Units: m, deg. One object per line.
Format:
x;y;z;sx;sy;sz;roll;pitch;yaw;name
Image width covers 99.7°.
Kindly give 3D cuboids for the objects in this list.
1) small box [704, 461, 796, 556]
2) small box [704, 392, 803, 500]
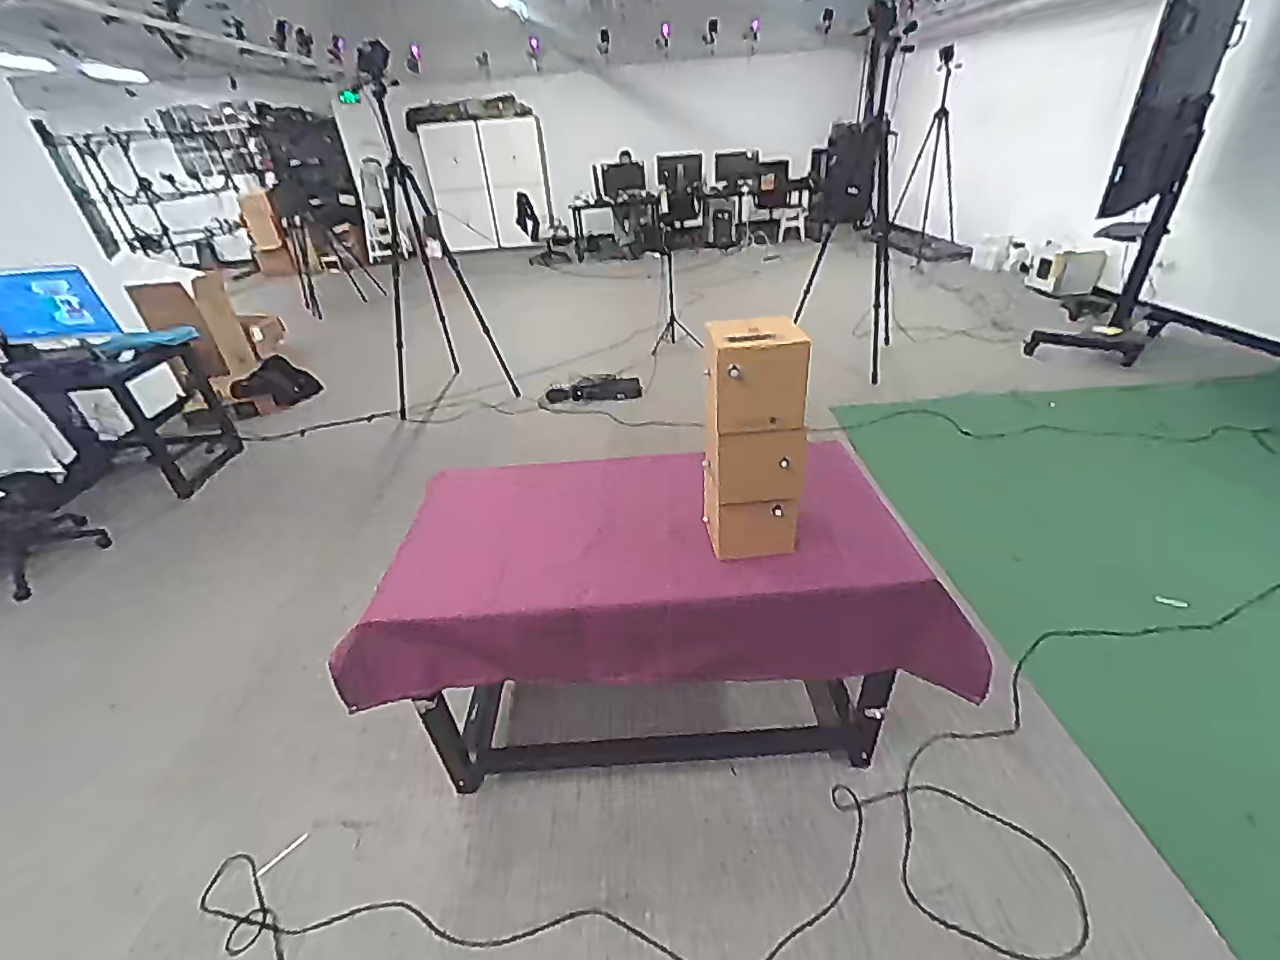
0.245;0.057;1.253;0.179;0.176;0.168;-6;31;-2;small box
0.232;-0.072;1.153;0.179;0.176;0.168;-5;31;0;small box
